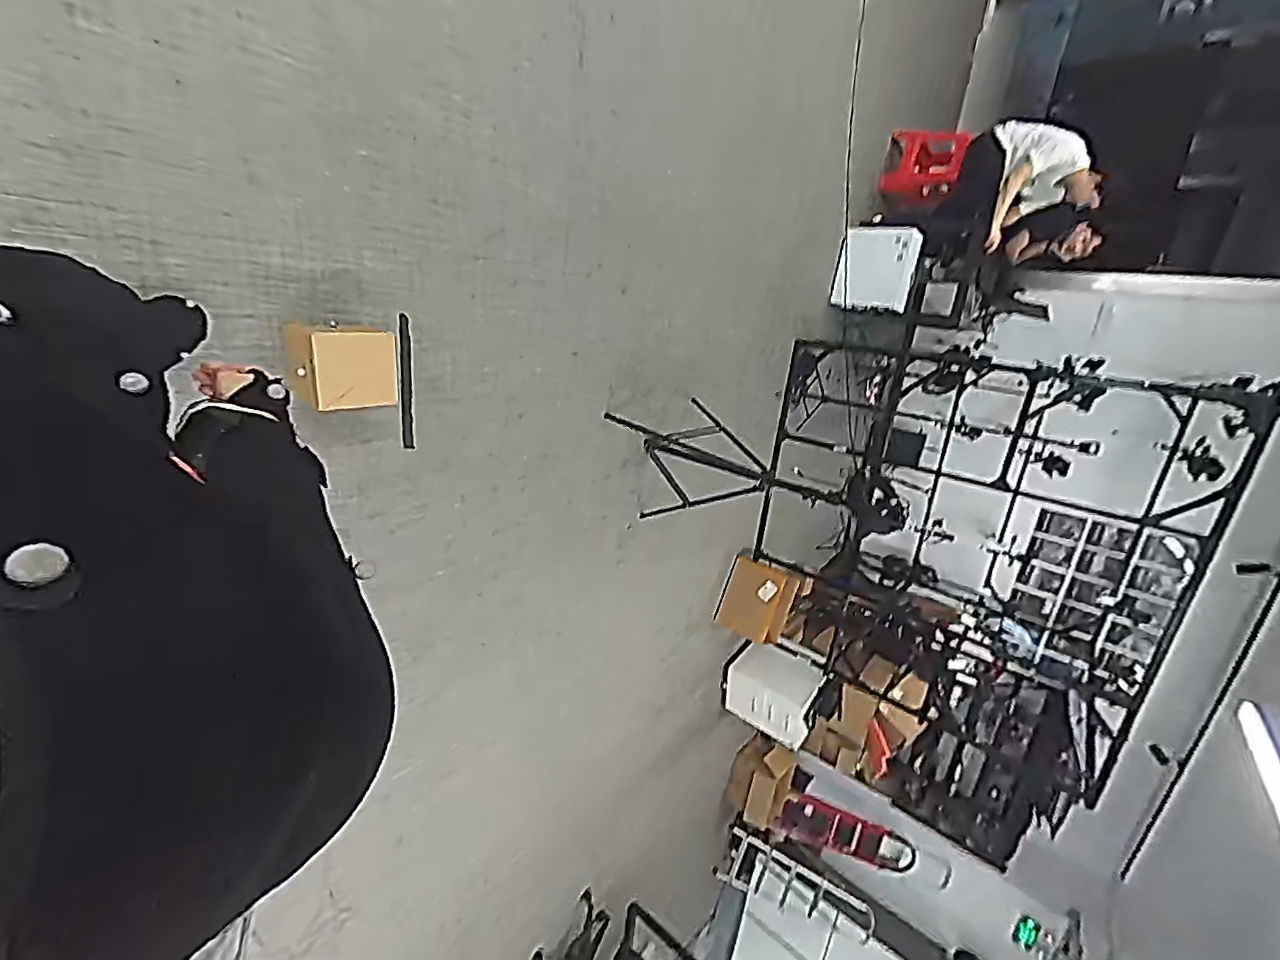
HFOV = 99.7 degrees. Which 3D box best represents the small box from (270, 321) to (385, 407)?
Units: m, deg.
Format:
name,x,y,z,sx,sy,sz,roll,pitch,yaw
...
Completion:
name,x,y,z,sx,sy,sz,roll,pitch,yaw
small box,-0.708,-0.268,1.236,0.179,0.176,0.168,-17,119,-50
